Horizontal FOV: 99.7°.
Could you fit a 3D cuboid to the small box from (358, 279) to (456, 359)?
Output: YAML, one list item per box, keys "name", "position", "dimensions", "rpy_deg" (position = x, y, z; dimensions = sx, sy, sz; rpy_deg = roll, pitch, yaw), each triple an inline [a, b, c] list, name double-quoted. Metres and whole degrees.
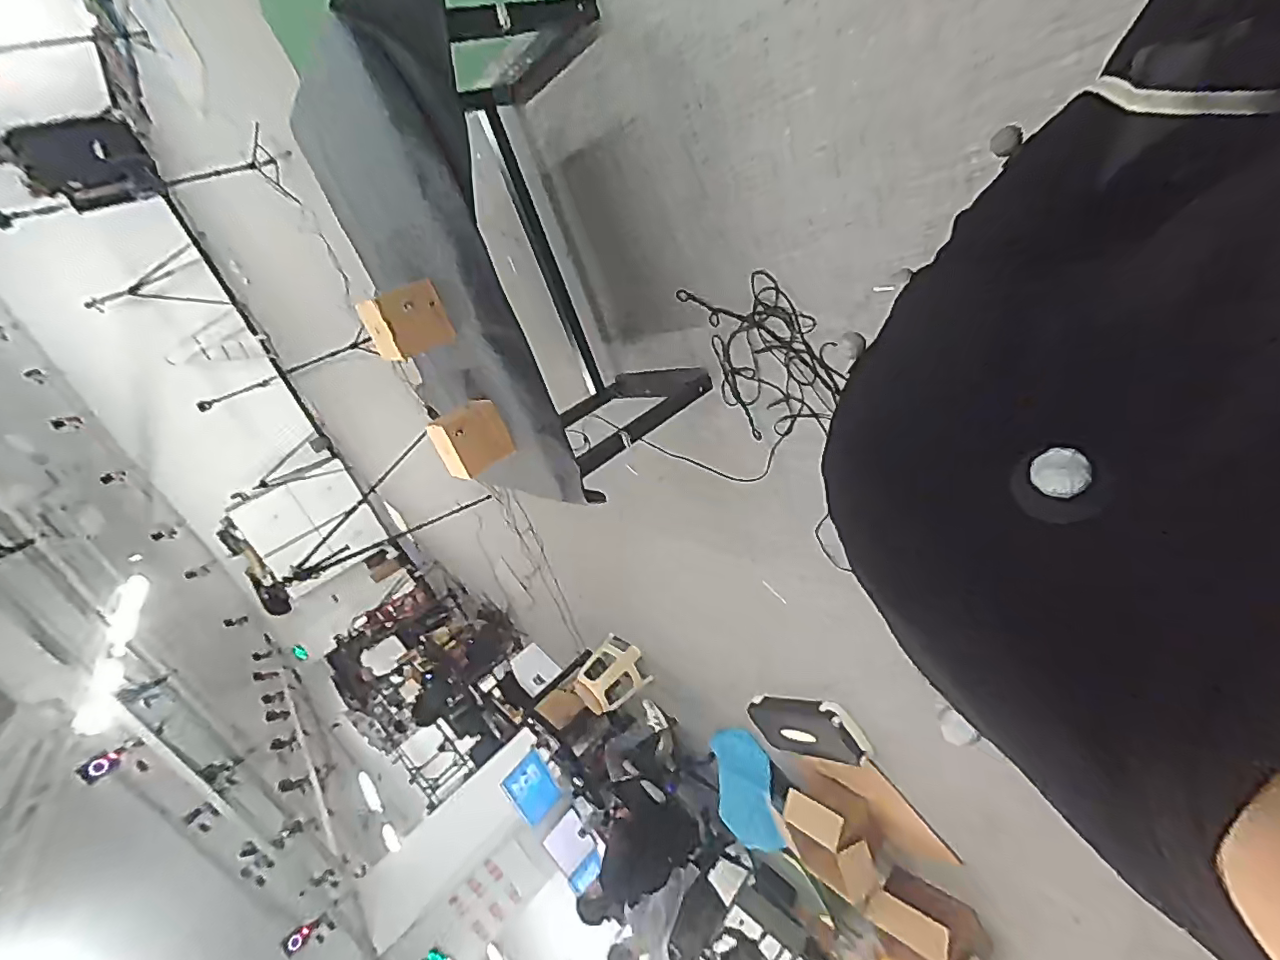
- name: "small box"
  position: [-0.633, -0.441, 1.487]
  dimensions: [0.179, 0.176, 0.168]
  rpy_deg: [15, 131, 49]

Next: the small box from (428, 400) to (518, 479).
- name: "small box"
  position: [-0.493, -0.125, 1.612]
  dimensions: [0.168, 0.176, 0.179]
  rpy_deg: [8, 126, 51]
